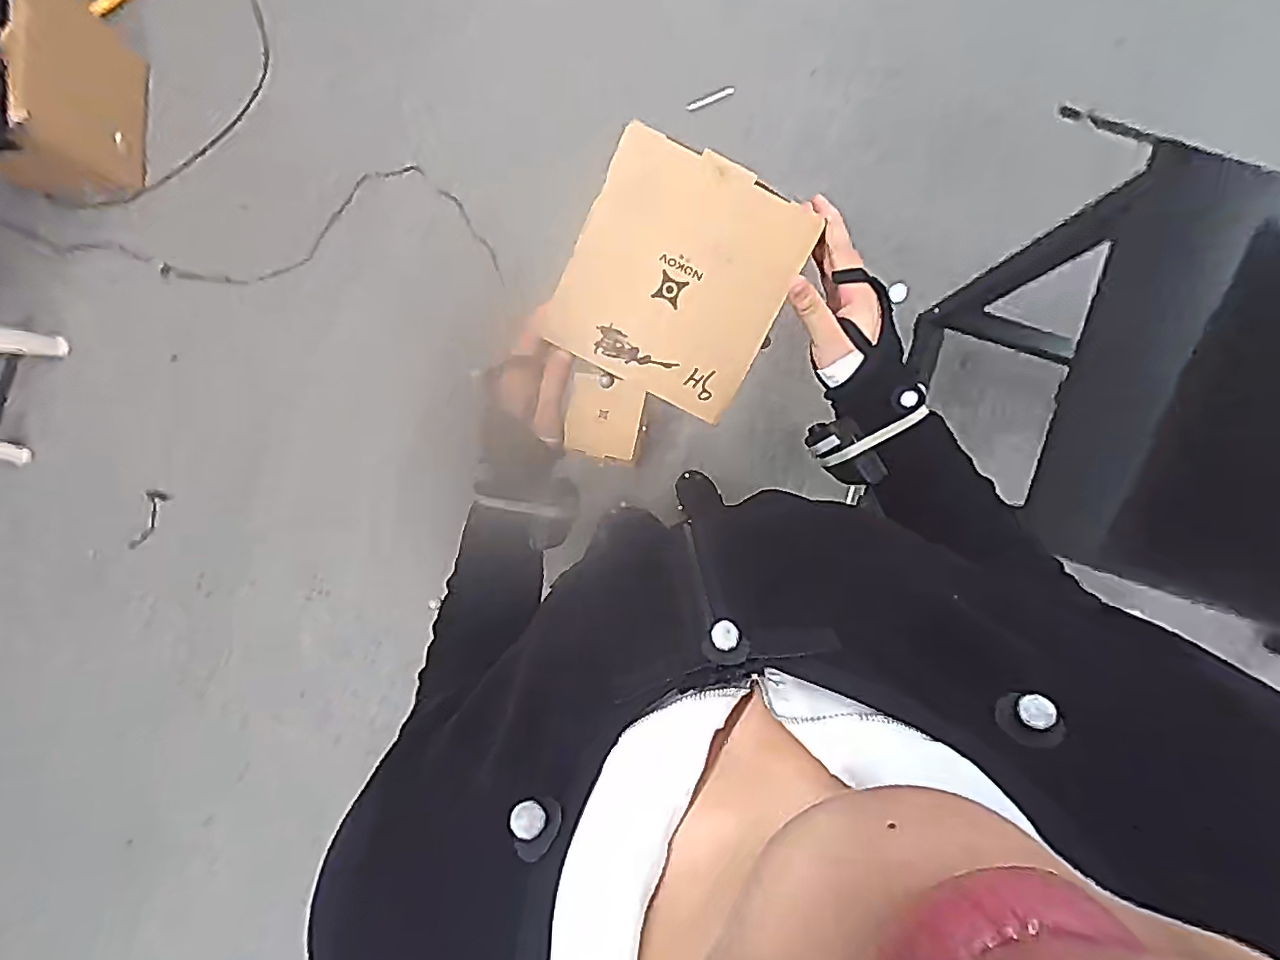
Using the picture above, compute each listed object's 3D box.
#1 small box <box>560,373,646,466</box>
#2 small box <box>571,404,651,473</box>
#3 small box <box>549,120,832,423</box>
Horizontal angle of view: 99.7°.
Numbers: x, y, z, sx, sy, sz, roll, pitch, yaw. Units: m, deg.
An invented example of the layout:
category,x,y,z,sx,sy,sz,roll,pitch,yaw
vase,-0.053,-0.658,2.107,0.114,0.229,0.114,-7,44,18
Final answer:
category,x,y,z,sx,sy,sz,roll,pitch,yaw
small box,-0.079,-0.134,1.270,0.168,0.176,0.179,11,88,1
small box,-0.072,-0.123,1.431,0.168,0.176,0.179,14,90,3
small box,0.042,-0.171,0.496,0.168,0.176,0.179,28,102,1
